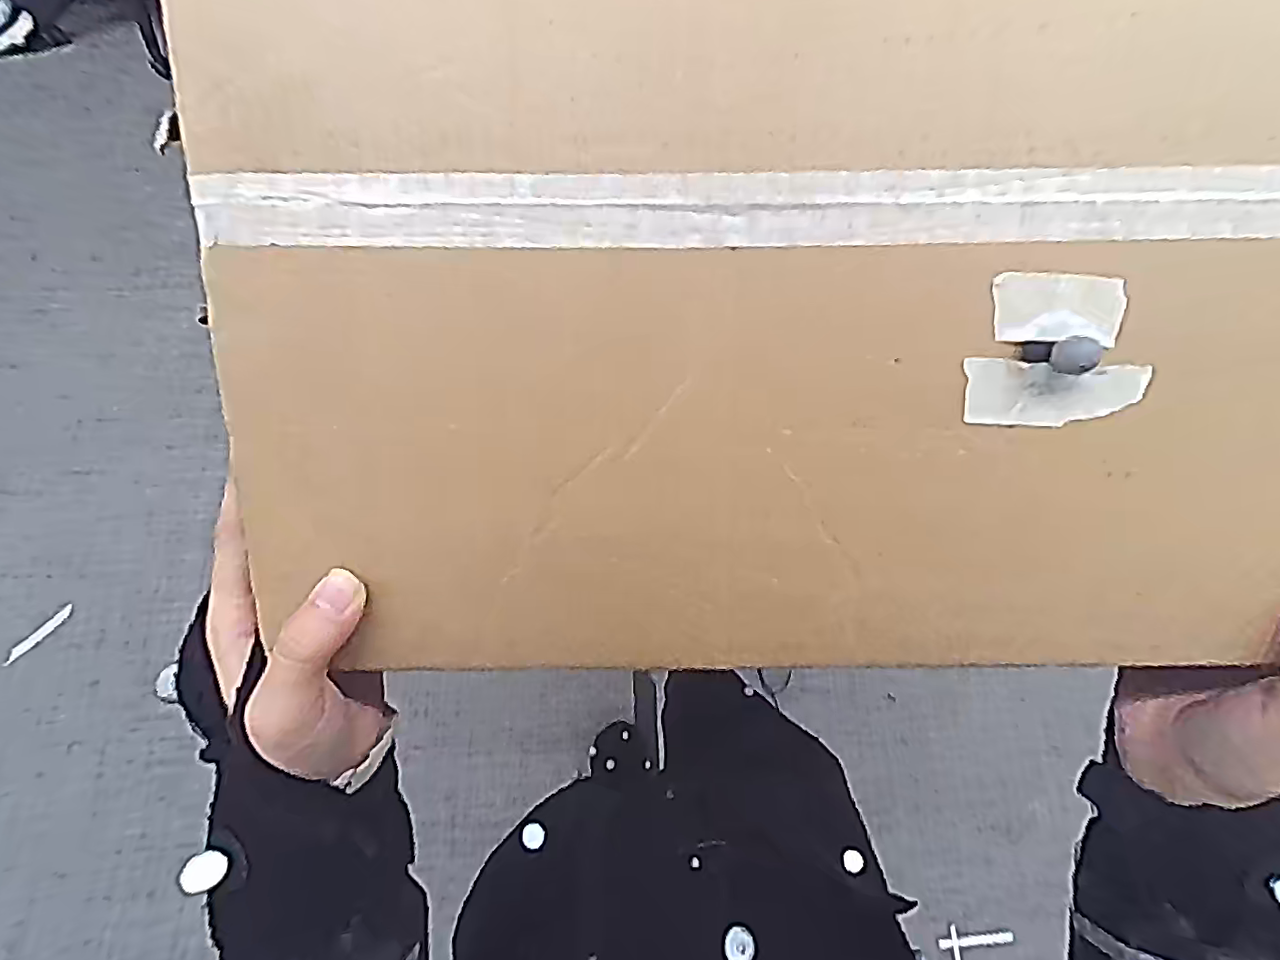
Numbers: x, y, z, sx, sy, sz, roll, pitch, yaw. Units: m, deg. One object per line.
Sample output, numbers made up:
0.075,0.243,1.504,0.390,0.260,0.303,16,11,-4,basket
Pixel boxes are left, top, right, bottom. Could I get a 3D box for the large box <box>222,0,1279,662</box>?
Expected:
0.062,-0.110,0.331,0.408,0.320,0.320,-1,100,-1,large box
